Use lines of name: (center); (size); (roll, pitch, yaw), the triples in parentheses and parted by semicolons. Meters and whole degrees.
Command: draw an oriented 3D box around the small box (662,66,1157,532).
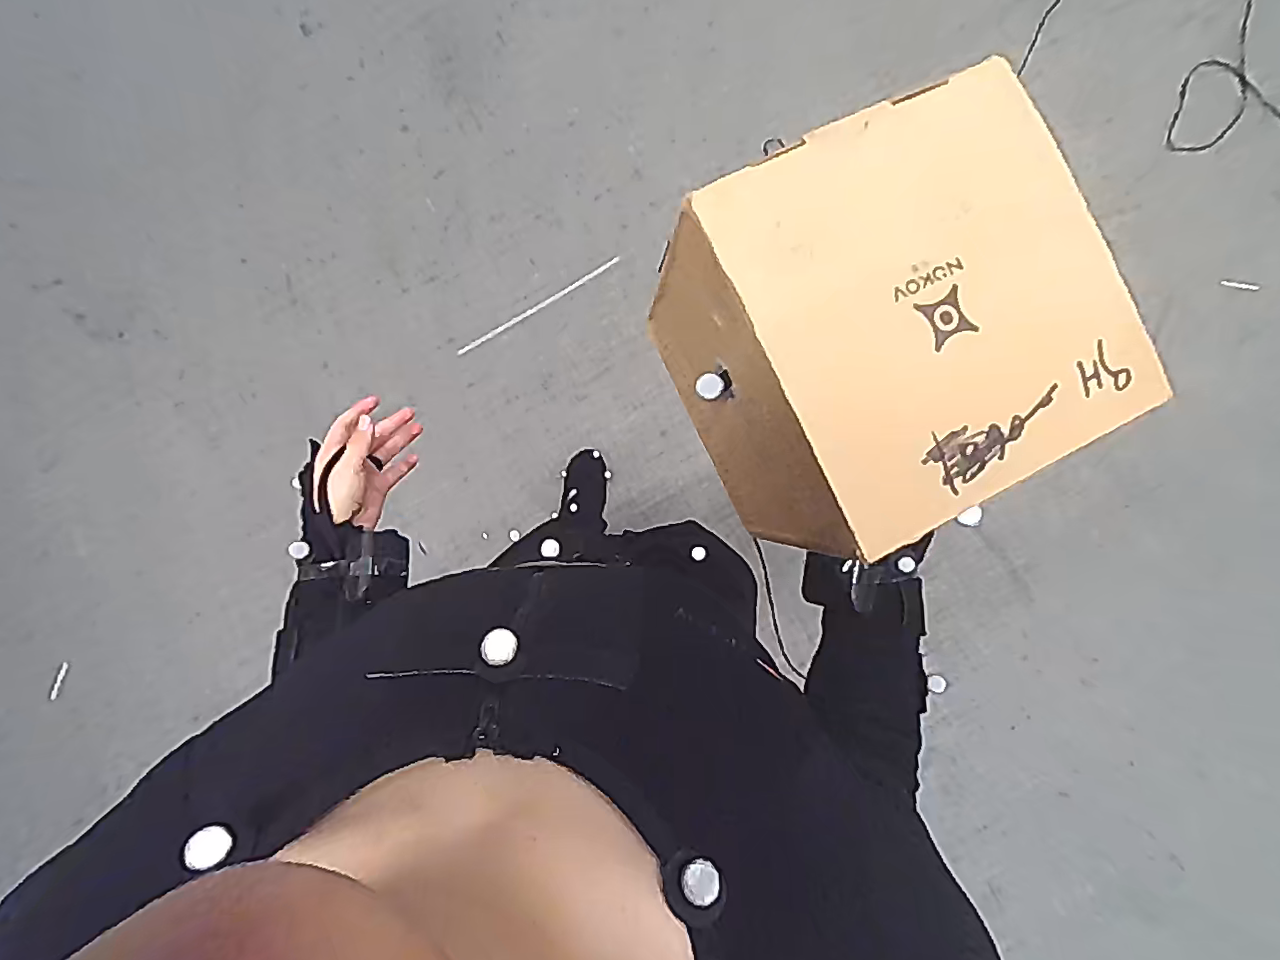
small box: (0.126, -0.081, 0.326); (0.168, 0.176, 0.179); (-27, 90, -6)
